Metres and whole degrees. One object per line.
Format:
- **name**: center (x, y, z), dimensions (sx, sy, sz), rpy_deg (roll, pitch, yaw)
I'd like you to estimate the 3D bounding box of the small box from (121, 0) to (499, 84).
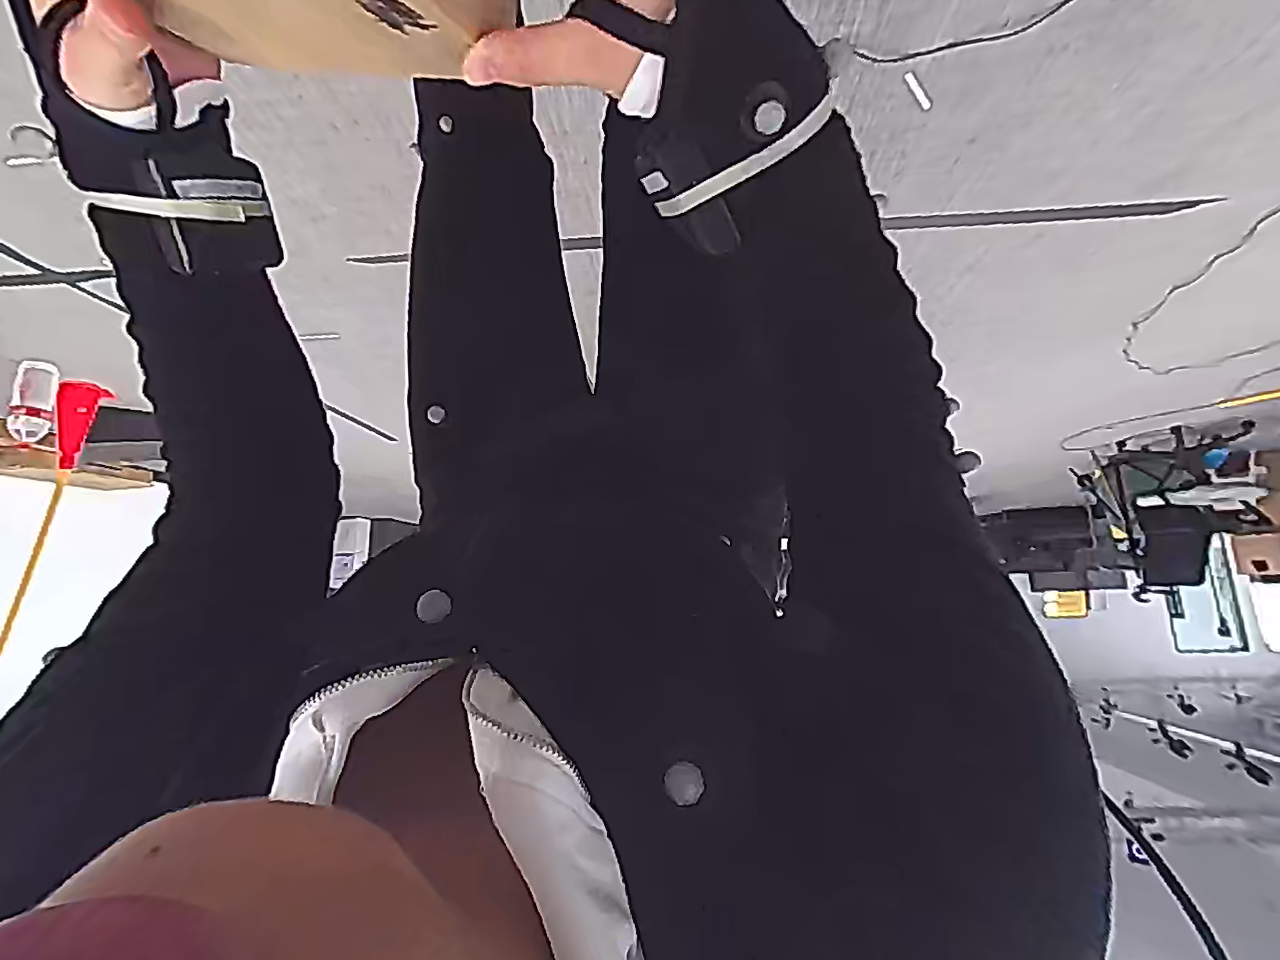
- **small box**: center (-0.145, -0.260, 0.162), dimensions (0.179, 0.176, 0.168), rpy_deg (14, -163, 10)
